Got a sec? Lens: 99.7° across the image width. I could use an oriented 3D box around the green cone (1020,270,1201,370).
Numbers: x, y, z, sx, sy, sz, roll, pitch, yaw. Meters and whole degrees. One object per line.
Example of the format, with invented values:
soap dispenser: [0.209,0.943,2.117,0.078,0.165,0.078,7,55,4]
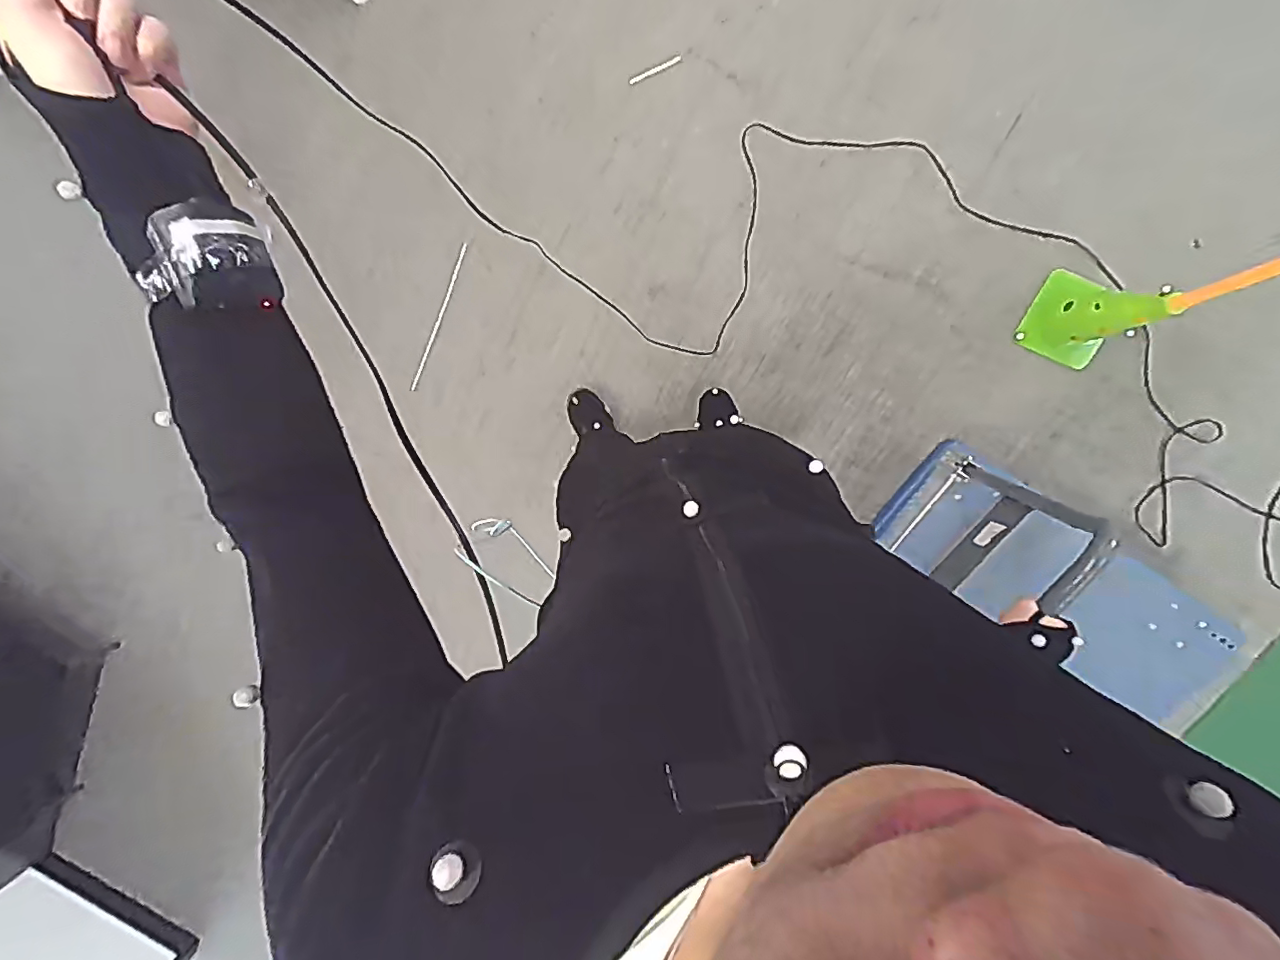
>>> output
green cone: [1.071,-0.372,1.197,0.200,0.368,0.202,25,103,4]
